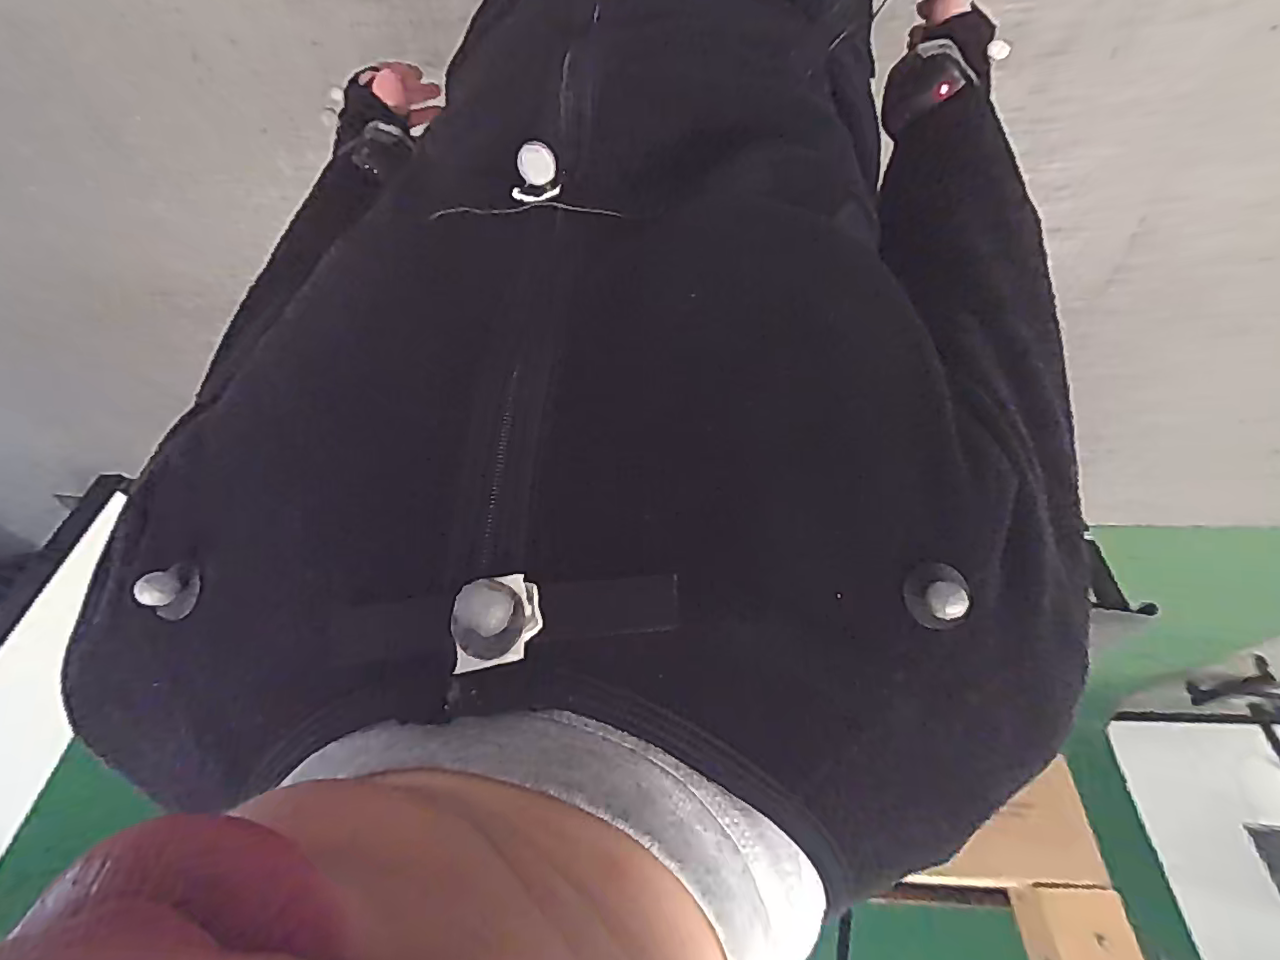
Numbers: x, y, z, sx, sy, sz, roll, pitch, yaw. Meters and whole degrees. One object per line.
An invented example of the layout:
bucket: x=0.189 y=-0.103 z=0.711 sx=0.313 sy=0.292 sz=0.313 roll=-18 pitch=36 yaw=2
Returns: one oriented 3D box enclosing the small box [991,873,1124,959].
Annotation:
small box: x=1.006 y=1.065 z=1.316 sx=0.179 sy=0.176 sz=0.168 roll=-3 pitch=143 yaw=4
